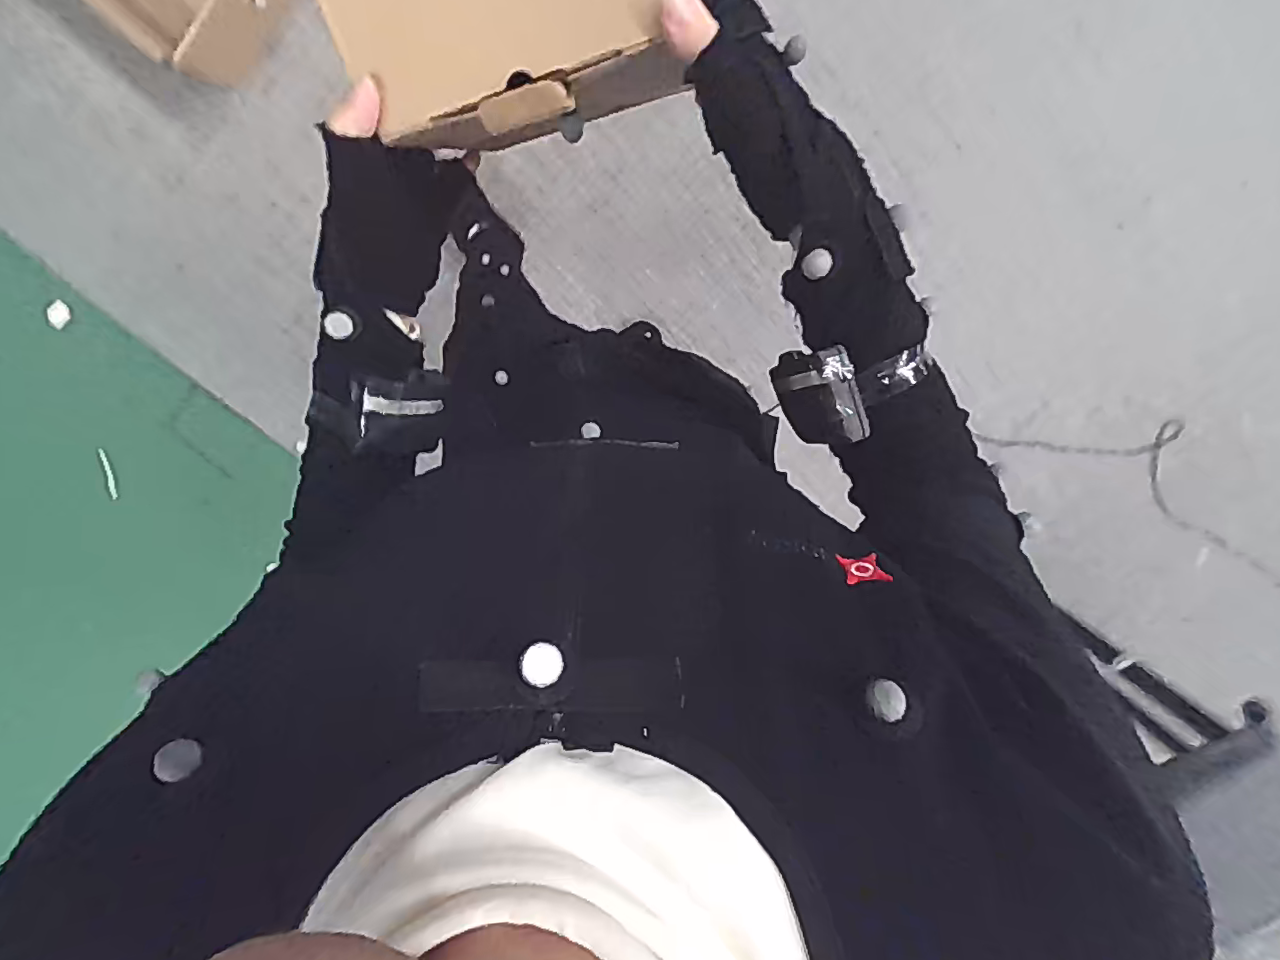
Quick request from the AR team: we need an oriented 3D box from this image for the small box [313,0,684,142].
[{"bbox_3d":[-0.074,-0.306,0.295,0.168,0.176,0.179,-10,118,13],"label":"small box"}]
